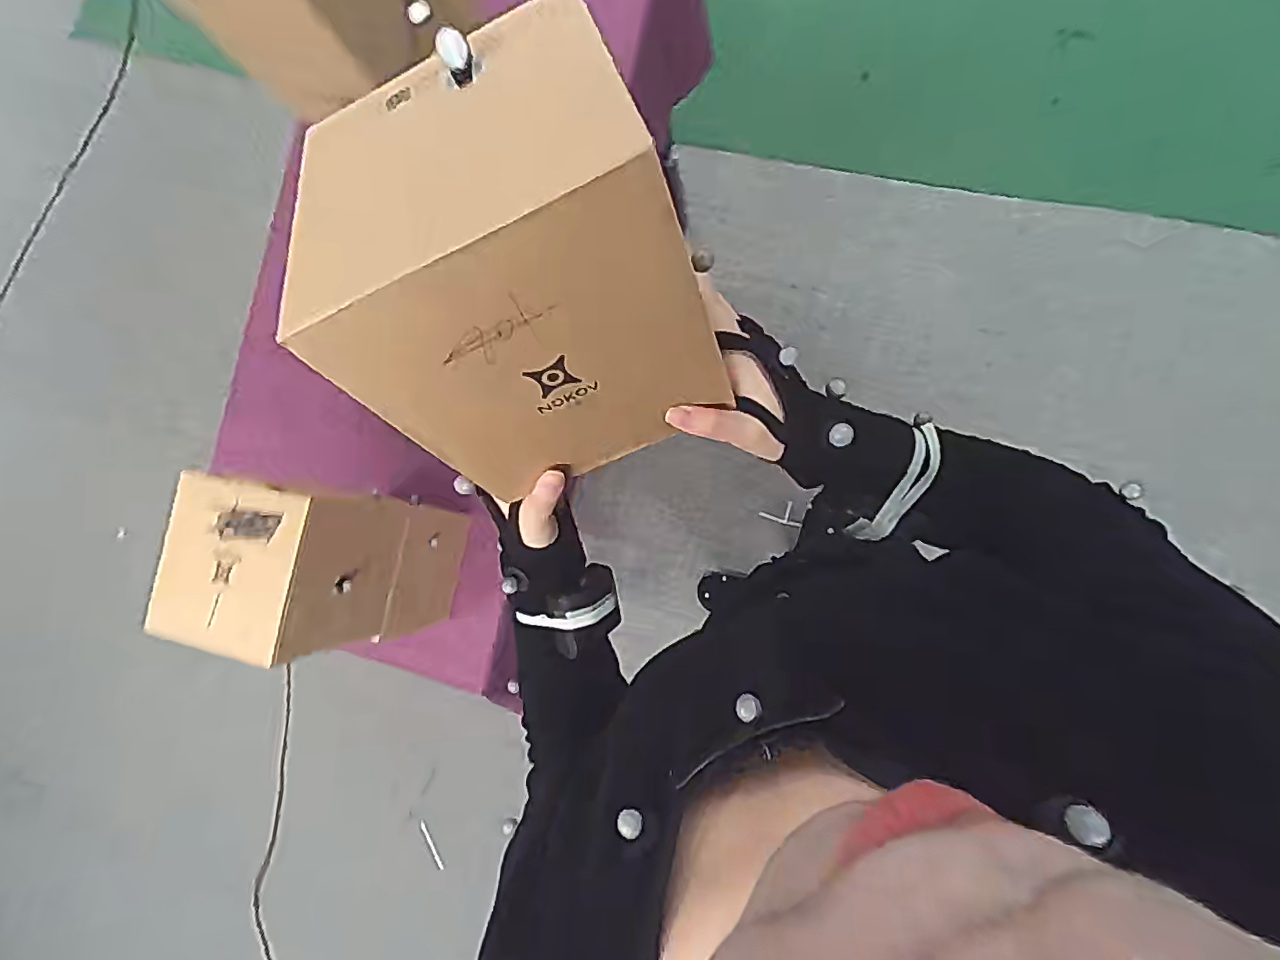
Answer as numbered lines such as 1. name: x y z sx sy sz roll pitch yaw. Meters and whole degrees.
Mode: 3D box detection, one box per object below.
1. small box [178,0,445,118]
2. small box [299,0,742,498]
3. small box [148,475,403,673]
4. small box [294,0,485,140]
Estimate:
1. small box: -0.306 -0.470 0.491 0.168 0.176 0.179 17 88 11
2. small box: -0.054 -0.118 0.314 0.168 0.179 0.176 -21 59 9
3. small box: -0.409 0.100 0.637 0.168 0.176 0.179 11 88 11
4. small box: -0.277 -0.461 0.653 0.179 0.176 0.168 16 89 11
